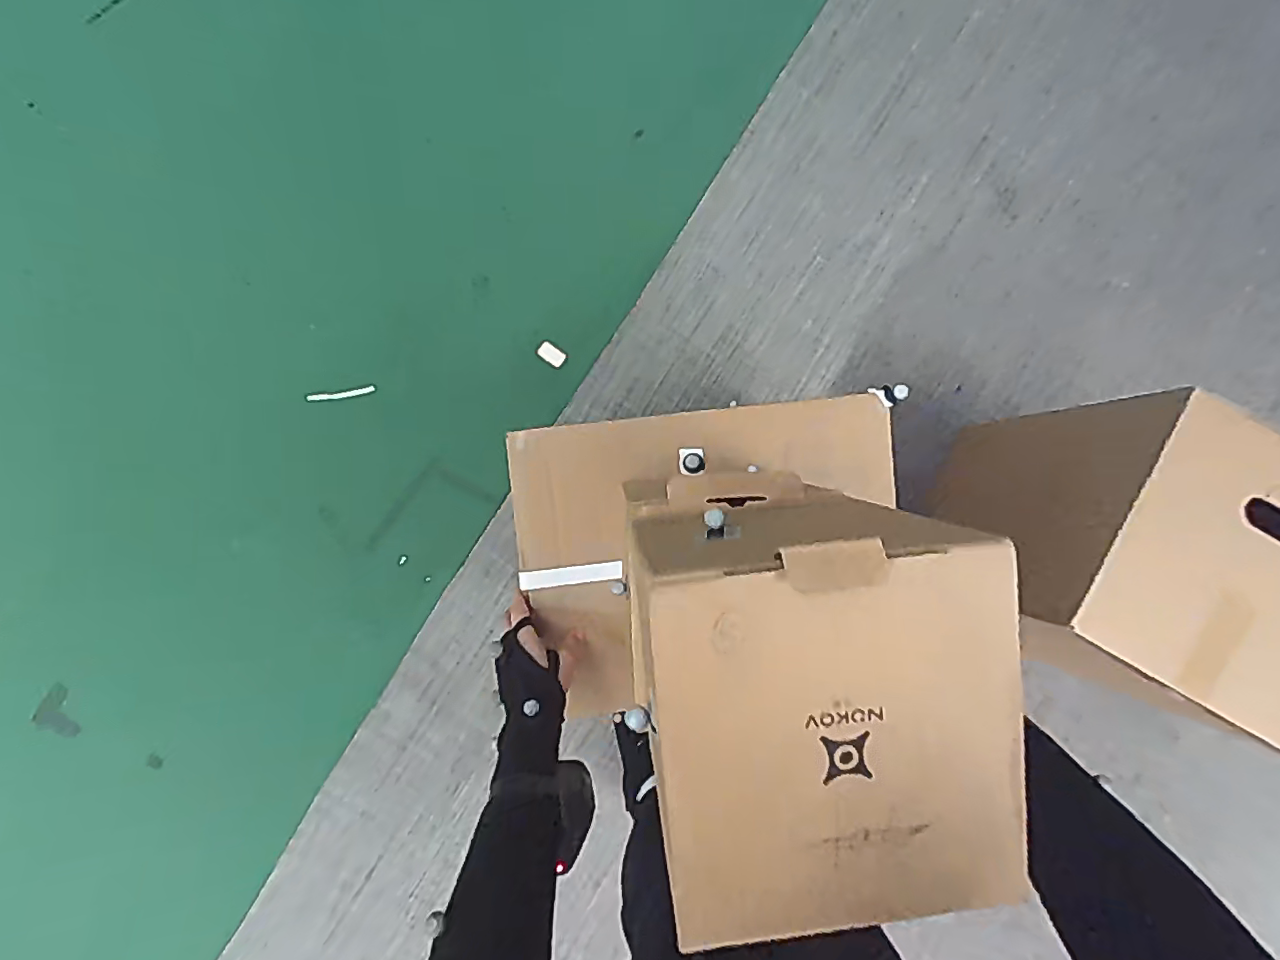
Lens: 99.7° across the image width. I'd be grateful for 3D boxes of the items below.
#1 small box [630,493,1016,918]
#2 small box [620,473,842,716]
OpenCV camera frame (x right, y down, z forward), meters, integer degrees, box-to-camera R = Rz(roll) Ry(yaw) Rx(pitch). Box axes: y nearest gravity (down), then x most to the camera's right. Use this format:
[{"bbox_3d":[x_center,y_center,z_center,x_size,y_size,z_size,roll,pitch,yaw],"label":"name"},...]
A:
[{"bbox_3d":[0.084,0.102,0.324,0.168,0.176,0.179,-5,95,-3],"label":"small box"},{"bbox_3d":[0.069,0.084,0.486,0.168,0.176,0.179,-3,94,-3],"label":"small box"}]
